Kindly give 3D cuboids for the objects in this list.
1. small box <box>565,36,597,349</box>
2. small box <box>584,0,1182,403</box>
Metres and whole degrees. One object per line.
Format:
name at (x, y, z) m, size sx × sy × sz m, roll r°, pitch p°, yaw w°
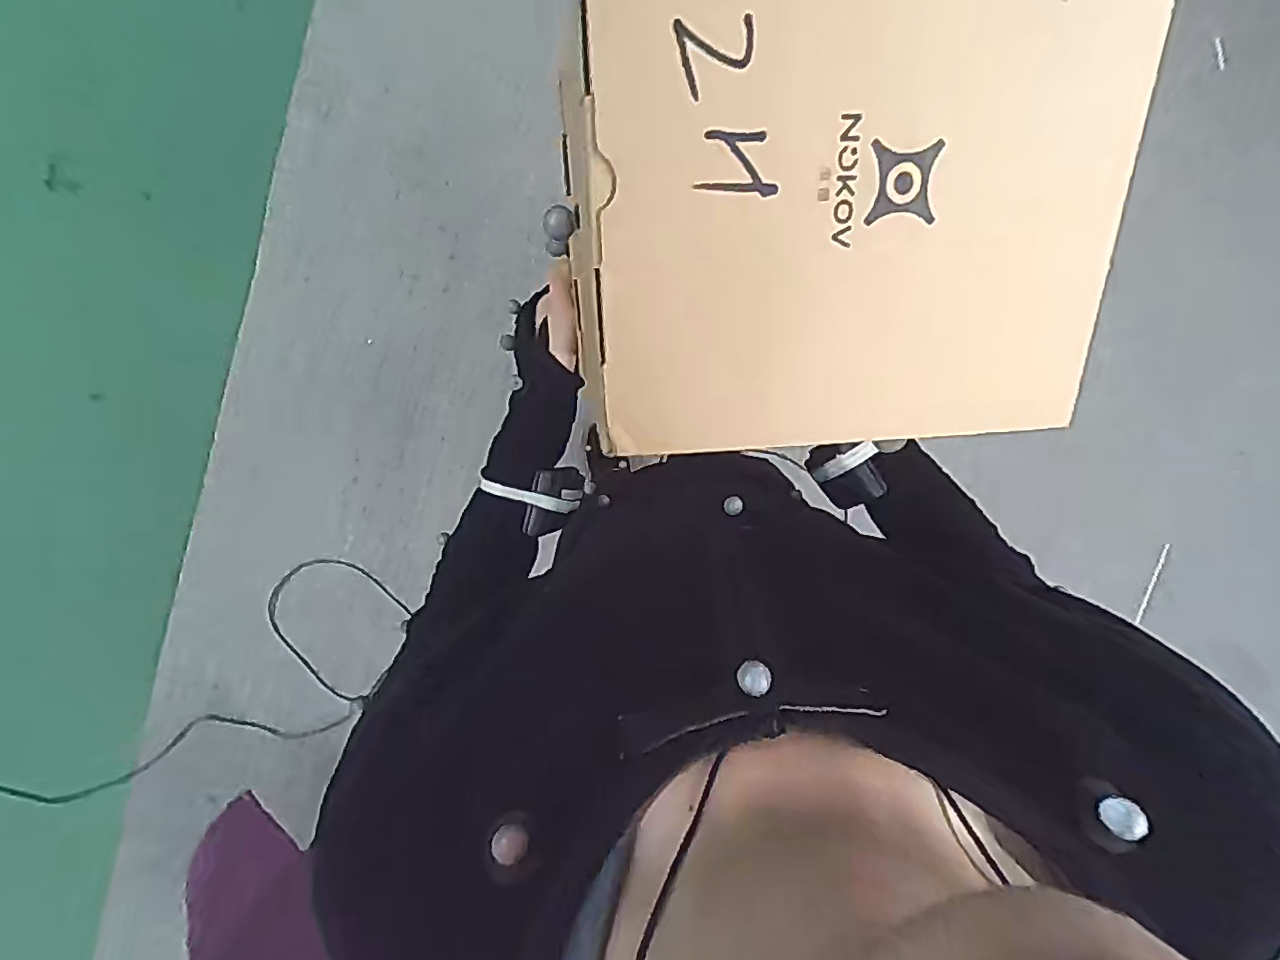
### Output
small box at (0.042, -0.187, 0.392) m, size 0.179 × 0.176 × 0.168 m, roll -3°, pitch 110°, yaw -5°
small box at (0.067, -0.132, 0.239) m, size 0.179 × 0.176 × 0.168 m, roll -3°, pitch 109°, yaw -6°
